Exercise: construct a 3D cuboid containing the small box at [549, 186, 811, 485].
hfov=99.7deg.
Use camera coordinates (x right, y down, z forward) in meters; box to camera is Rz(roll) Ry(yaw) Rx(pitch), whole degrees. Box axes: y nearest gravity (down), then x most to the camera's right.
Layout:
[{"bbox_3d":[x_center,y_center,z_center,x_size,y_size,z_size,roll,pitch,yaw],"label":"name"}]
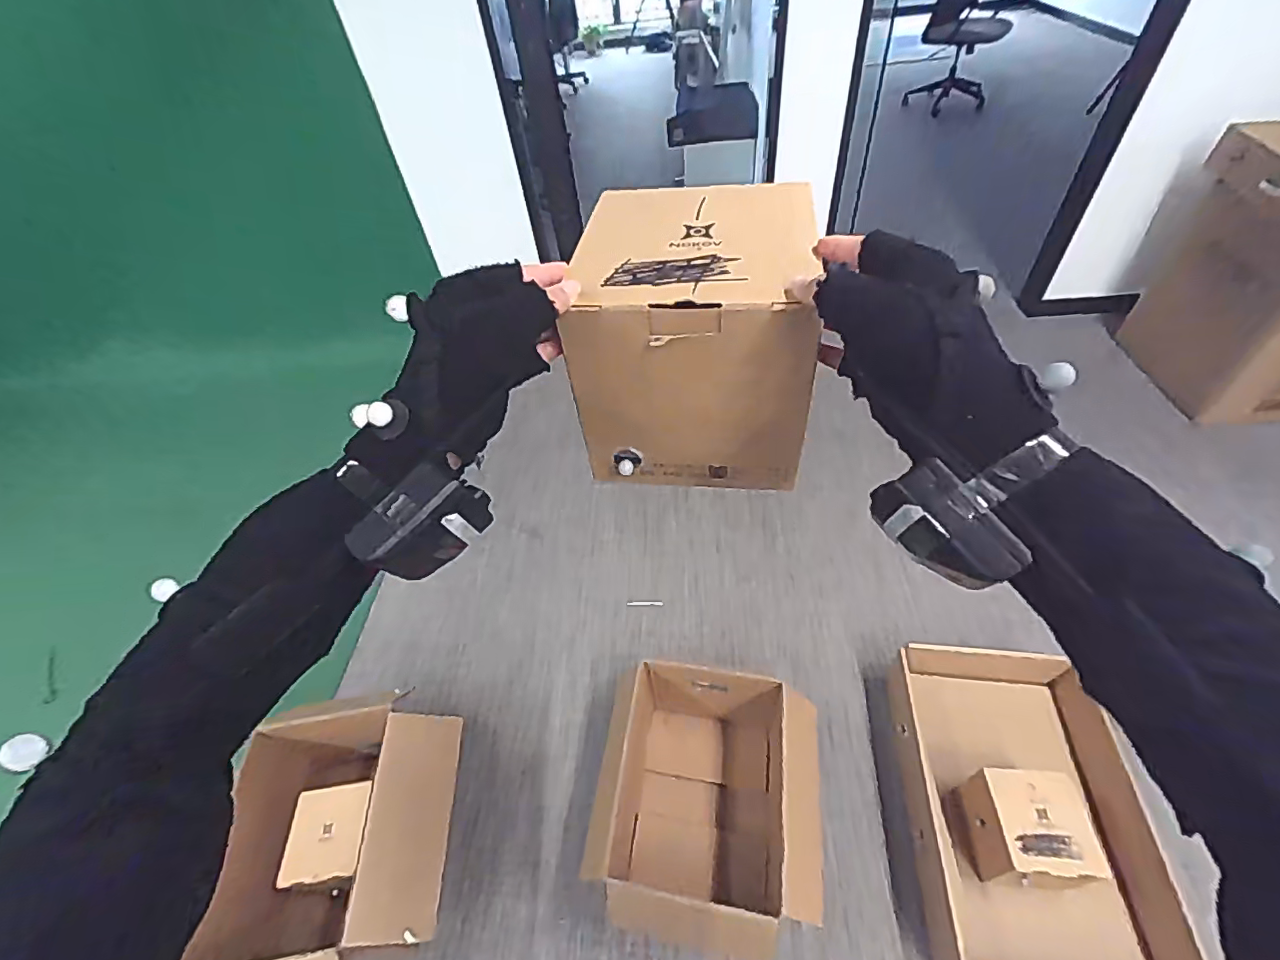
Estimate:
[{"bbox_3d":[0.043,-0.112,0.438,0.168,0.176,0.179,3,48,10],"label":"small box"}]
